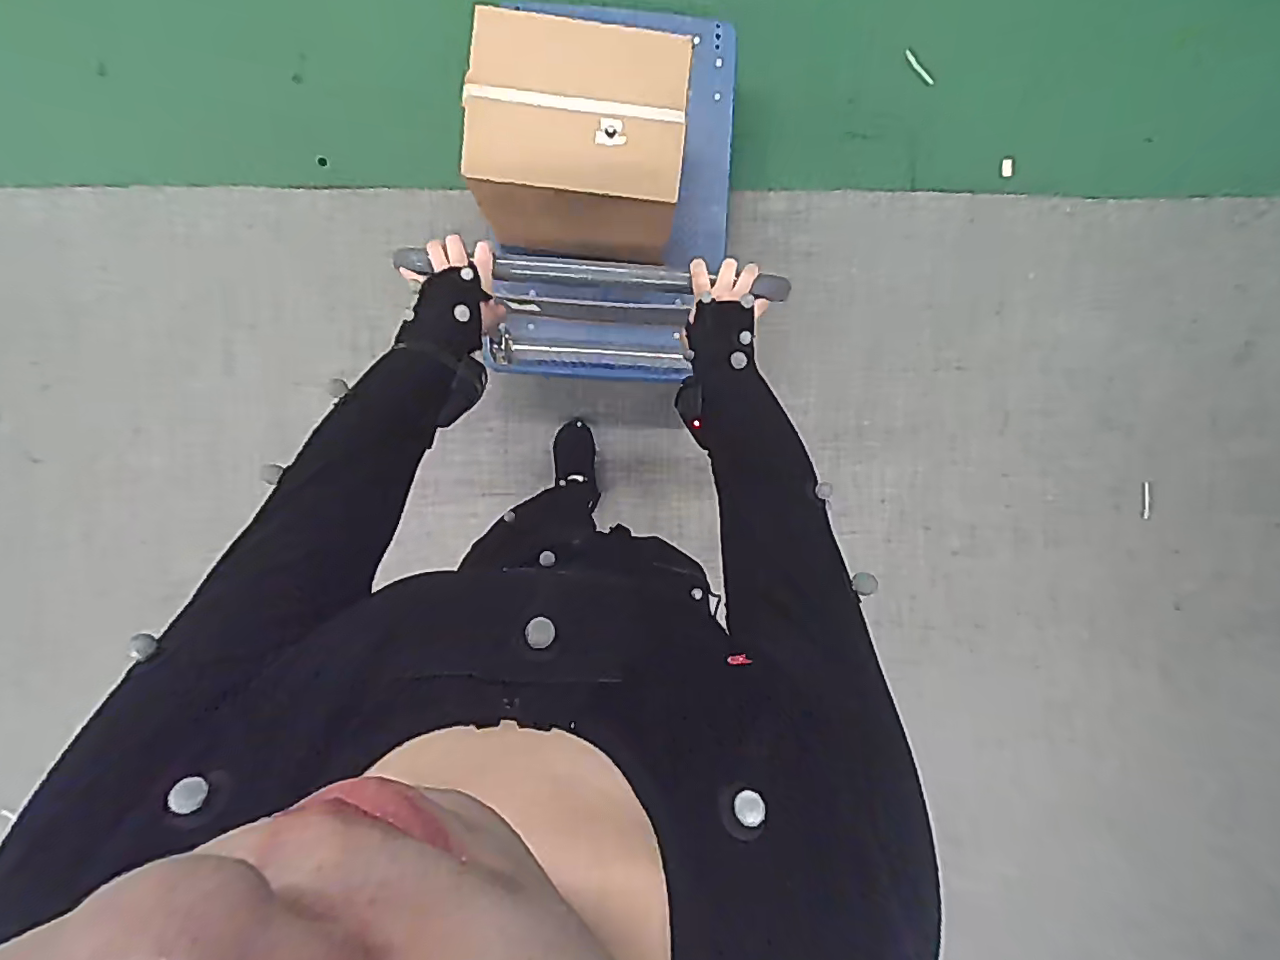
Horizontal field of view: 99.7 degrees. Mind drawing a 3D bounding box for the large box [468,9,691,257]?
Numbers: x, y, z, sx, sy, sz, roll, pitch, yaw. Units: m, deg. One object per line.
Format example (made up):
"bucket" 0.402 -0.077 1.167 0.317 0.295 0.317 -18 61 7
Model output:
"large box" -0.124 -0.708 1.164 0.408 0.320 0.320 5 91 -4
